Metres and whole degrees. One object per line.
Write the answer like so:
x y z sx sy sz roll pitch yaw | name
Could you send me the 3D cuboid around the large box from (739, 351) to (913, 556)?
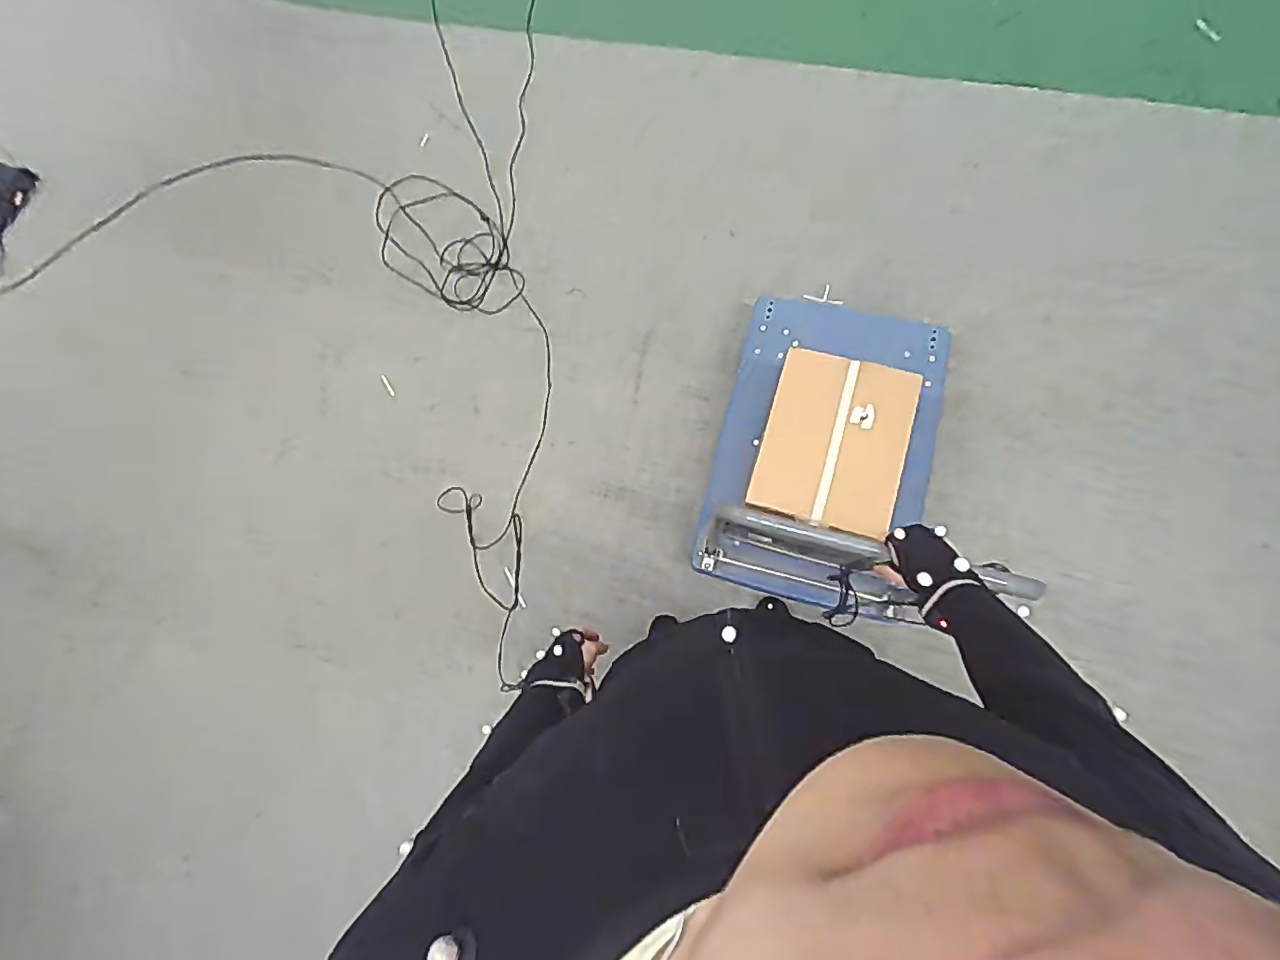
0.452 -0.052 1.379 0.320 0.320 0.408 16 77 10 | large box
